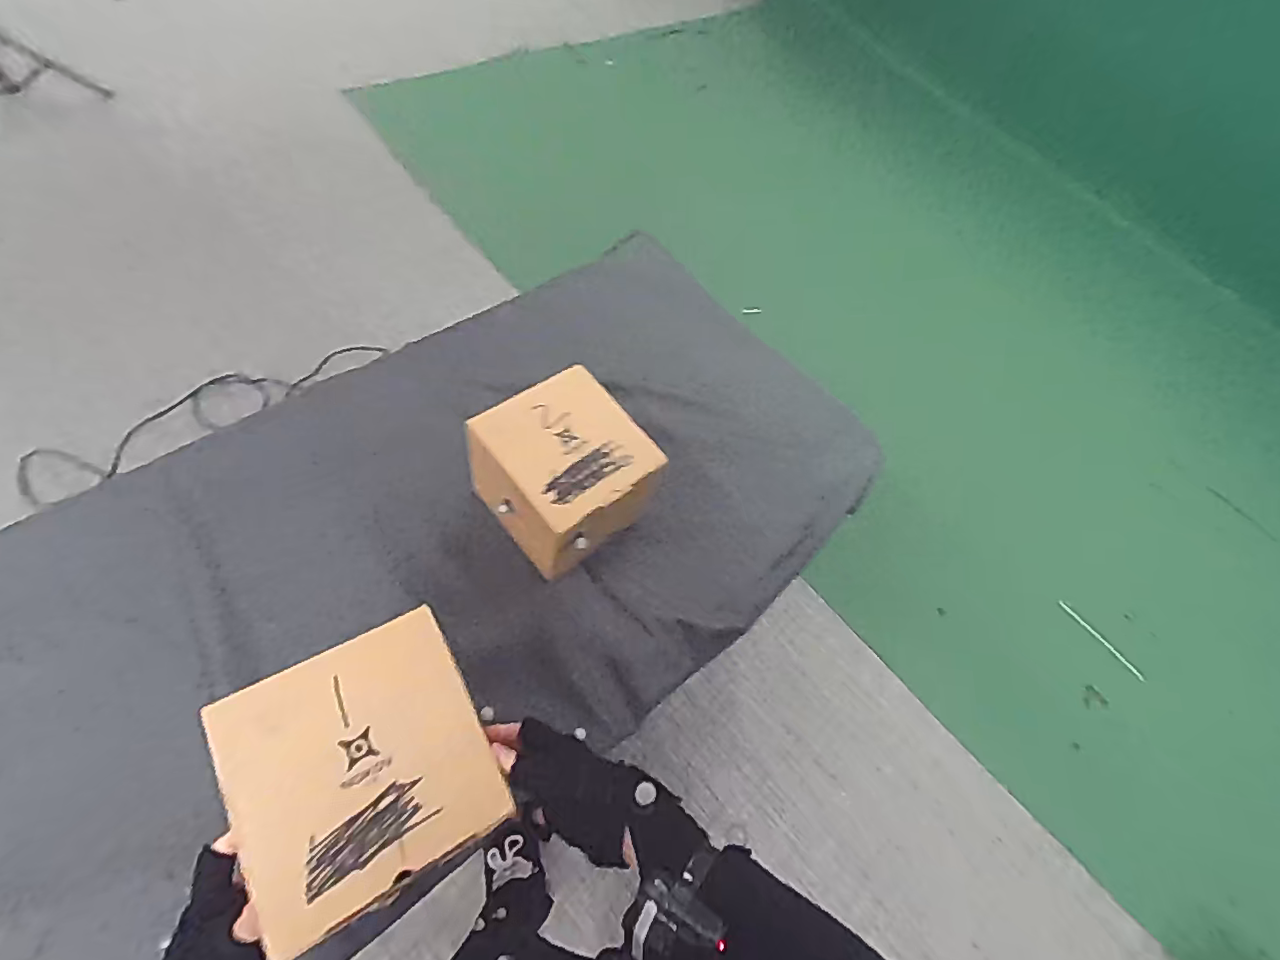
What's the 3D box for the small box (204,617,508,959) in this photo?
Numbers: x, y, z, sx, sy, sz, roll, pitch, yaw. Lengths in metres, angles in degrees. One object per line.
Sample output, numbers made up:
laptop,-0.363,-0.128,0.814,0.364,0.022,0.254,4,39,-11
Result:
small box,-0.219,0.245,0.459,0.168,0.176,0.179,-22,70,-23
